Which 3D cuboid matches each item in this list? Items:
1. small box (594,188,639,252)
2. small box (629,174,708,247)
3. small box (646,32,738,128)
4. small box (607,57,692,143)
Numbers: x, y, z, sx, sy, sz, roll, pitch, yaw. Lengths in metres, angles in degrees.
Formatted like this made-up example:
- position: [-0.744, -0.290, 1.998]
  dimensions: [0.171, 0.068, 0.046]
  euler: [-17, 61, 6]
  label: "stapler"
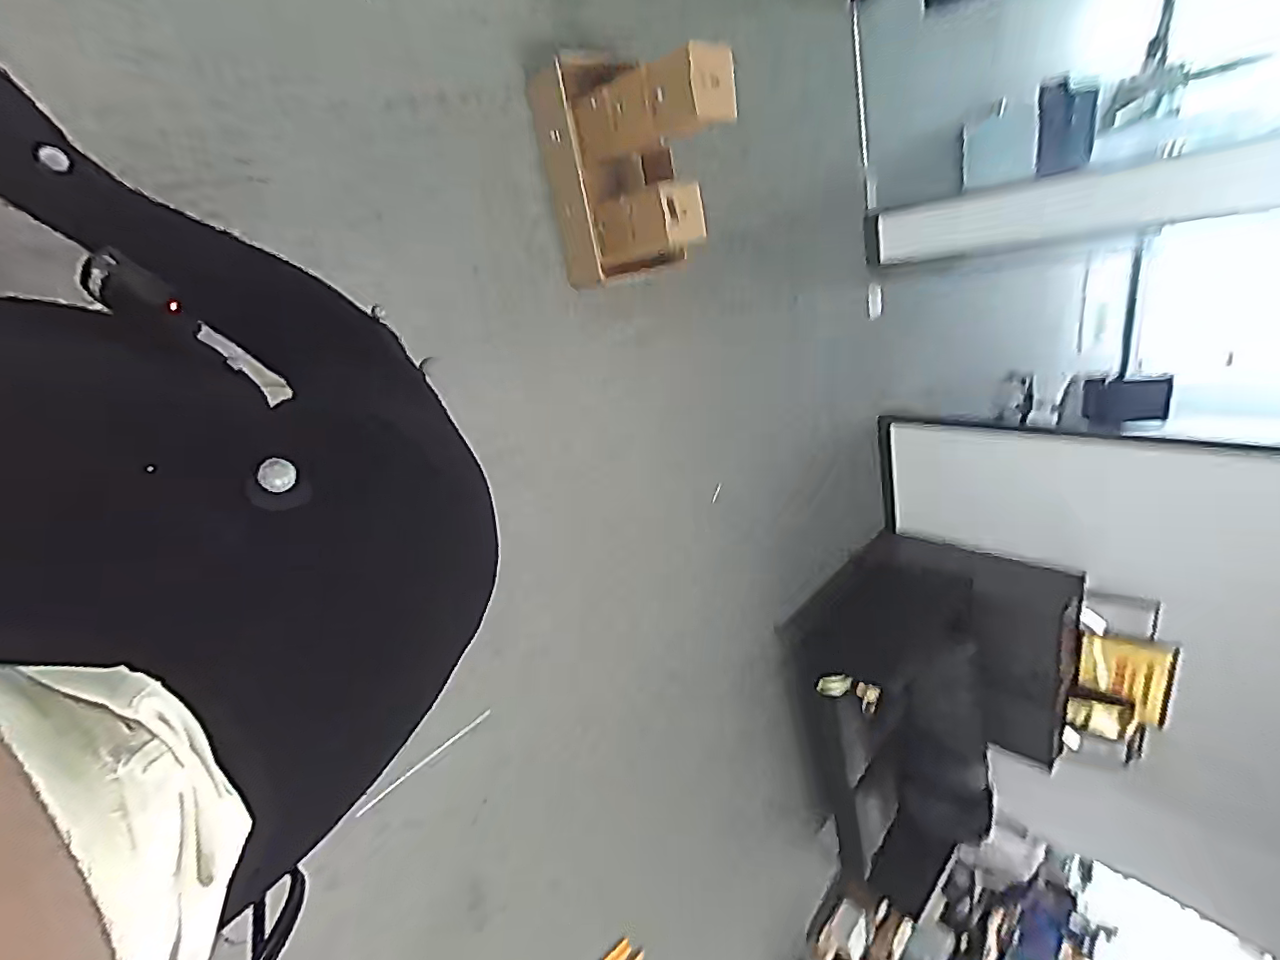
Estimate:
- position: [-0.026, -0.868, 1.801]
  dimensions: [0.179, 0.176, 0.168]
  euler: [-27, 115, -33]
  label: "small box"
- position: [0.082, -0.834, 1.682]
  dimensions: [0.179, 0.176, 0.168]
  euler: [-28, 116, -35]
  label: "small box"
- position: [0.142, -1.070, 1.461]
  dimensions: [0.179, 0.176, 0.168]
  euler: [-27, 117, -35]
  label: "small box"
- position: [0.029, -1.101, 1.577]
  dimensions: [0.179, 0.176, 0.168]
  euler: [-27, 118, -34]
  label: "small box"
